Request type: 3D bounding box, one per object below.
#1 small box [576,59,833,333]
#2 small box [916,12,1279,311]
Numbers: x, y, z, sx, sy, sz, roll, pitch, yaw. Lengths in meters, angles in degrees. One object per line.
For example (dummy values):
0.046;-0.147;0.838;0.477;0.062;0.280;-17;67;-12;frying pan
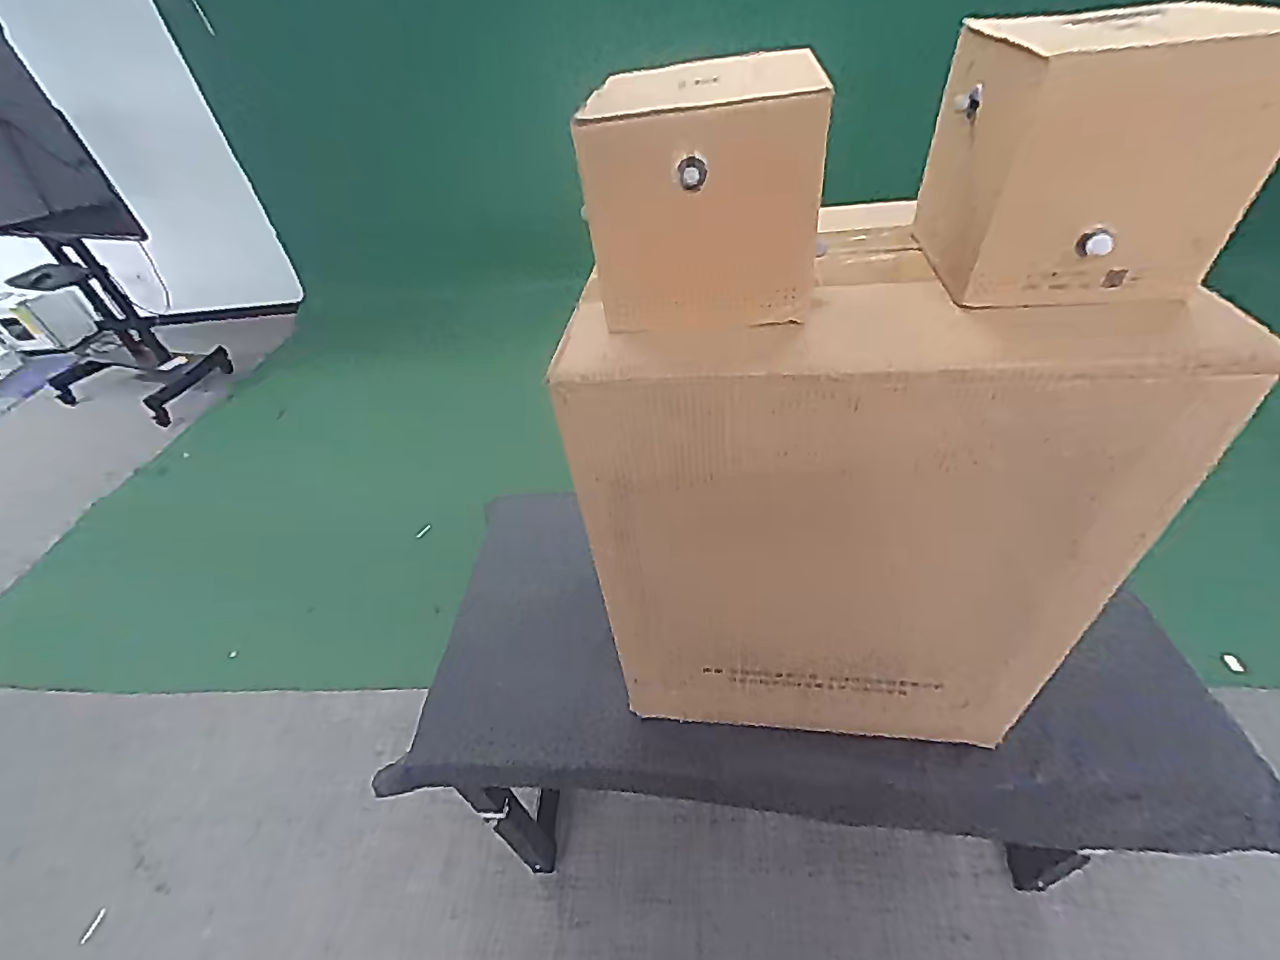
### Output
0.058;-0.241;0.471;0.179;0.176;0.168;1;46;9;small box
0.344;-0.253;0.435;0.168;0.176;0.179;1;45;8;small box
